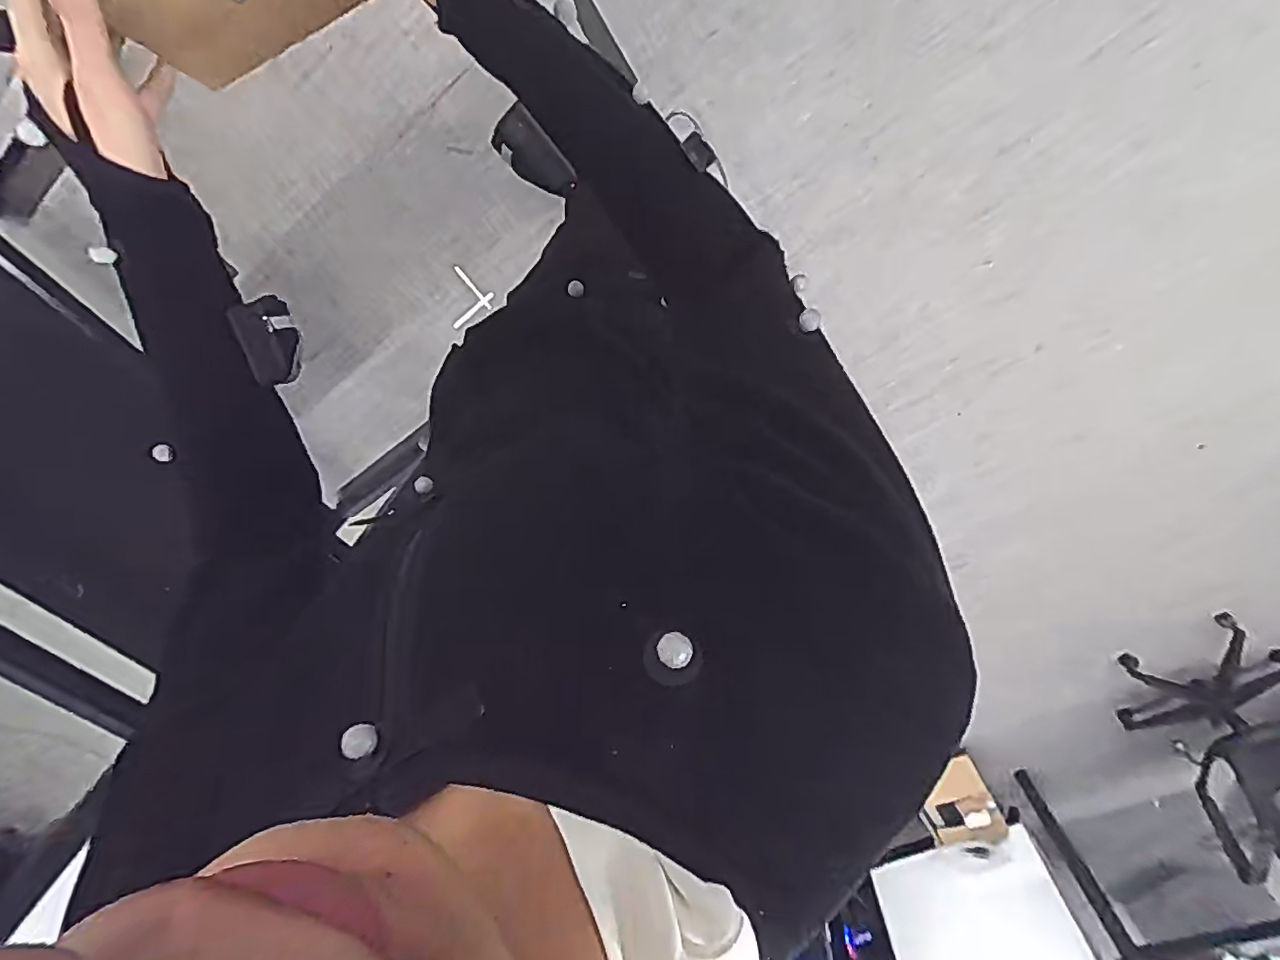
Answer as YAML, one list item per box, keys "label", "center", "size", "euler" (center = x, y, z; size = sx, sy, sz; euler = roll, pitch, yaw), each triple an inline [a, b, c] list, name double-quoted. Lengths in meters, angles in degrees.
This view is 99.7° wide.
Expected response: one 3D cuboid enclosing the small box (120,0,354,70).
- label: "small box"
  center: [-0.300, -0.413, 0.346]
  size: [0.179, 0.176, 0.168]
  euler: [-31, 114, -1]
